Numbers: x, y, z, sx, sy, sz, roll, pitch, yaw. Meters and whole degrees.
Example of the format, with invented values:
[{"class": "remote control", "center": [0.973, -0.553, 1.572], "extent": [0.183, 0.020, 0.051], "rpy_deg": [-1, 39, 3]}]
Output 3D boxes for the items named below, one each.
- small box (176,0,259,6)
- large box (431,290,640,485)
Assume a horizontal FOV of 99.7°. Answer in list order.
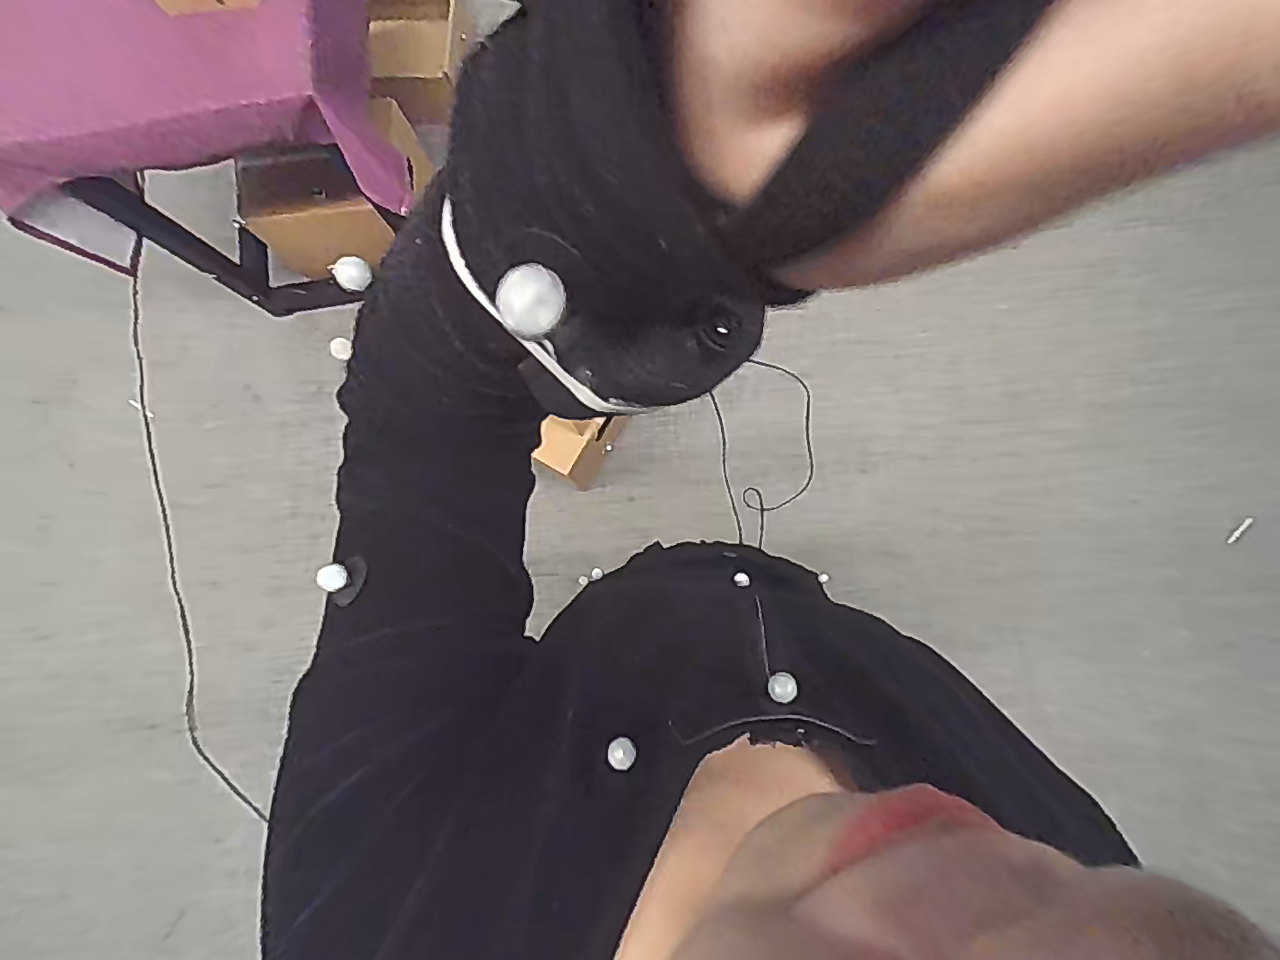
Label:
[{"class": "small box", "center": [-0.740, -0.916, 0.873], "extent": [0.168, 0.176, 0.179], "rpy_deg": [-4, 83, 1]}, {"class": "large box", "center": [-0.249, -0.223, 1.434], "extent": [0.408, 0.320, 0.320], "rpy_deg": [30, 84, 6]}]
